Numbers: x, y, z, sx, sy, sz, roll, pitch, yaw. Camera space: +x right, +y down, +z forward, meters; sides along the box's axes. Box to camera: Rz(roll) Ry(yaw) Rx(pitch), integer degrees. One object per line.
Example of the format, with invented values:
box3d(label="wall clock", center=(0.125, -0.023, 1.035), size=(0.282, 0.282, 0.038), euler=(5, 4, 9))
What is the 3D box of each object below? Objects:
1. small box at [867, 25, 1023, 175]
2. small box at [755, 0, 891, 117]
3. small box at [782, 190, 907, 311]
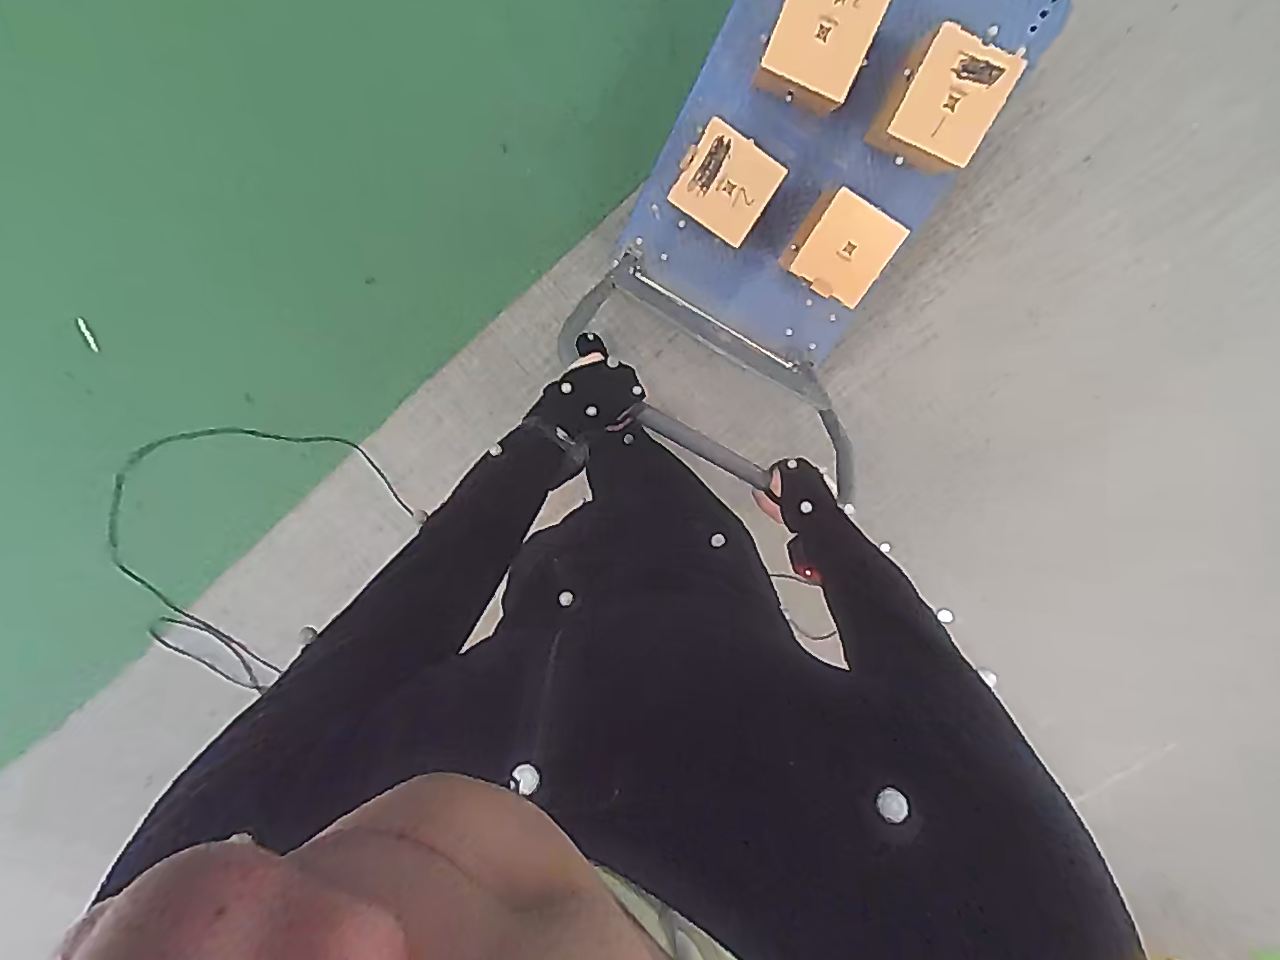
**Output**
box3d(label="small box", center=(0.564, -0.709, 1.033), size=(0.168, 0.176, 0.179), euler=(22, 117, -5))
box3d(label="small box", center=(0.326, -0.810, 1.006), size=(0.168, 0.176, 0.179), euler=(21, 116, -6))
box3d(label="small box", center=(0.423, -0.492, 1.156), size=(0.168, 0.176, 0.179), euler=(29, 116, -8))
